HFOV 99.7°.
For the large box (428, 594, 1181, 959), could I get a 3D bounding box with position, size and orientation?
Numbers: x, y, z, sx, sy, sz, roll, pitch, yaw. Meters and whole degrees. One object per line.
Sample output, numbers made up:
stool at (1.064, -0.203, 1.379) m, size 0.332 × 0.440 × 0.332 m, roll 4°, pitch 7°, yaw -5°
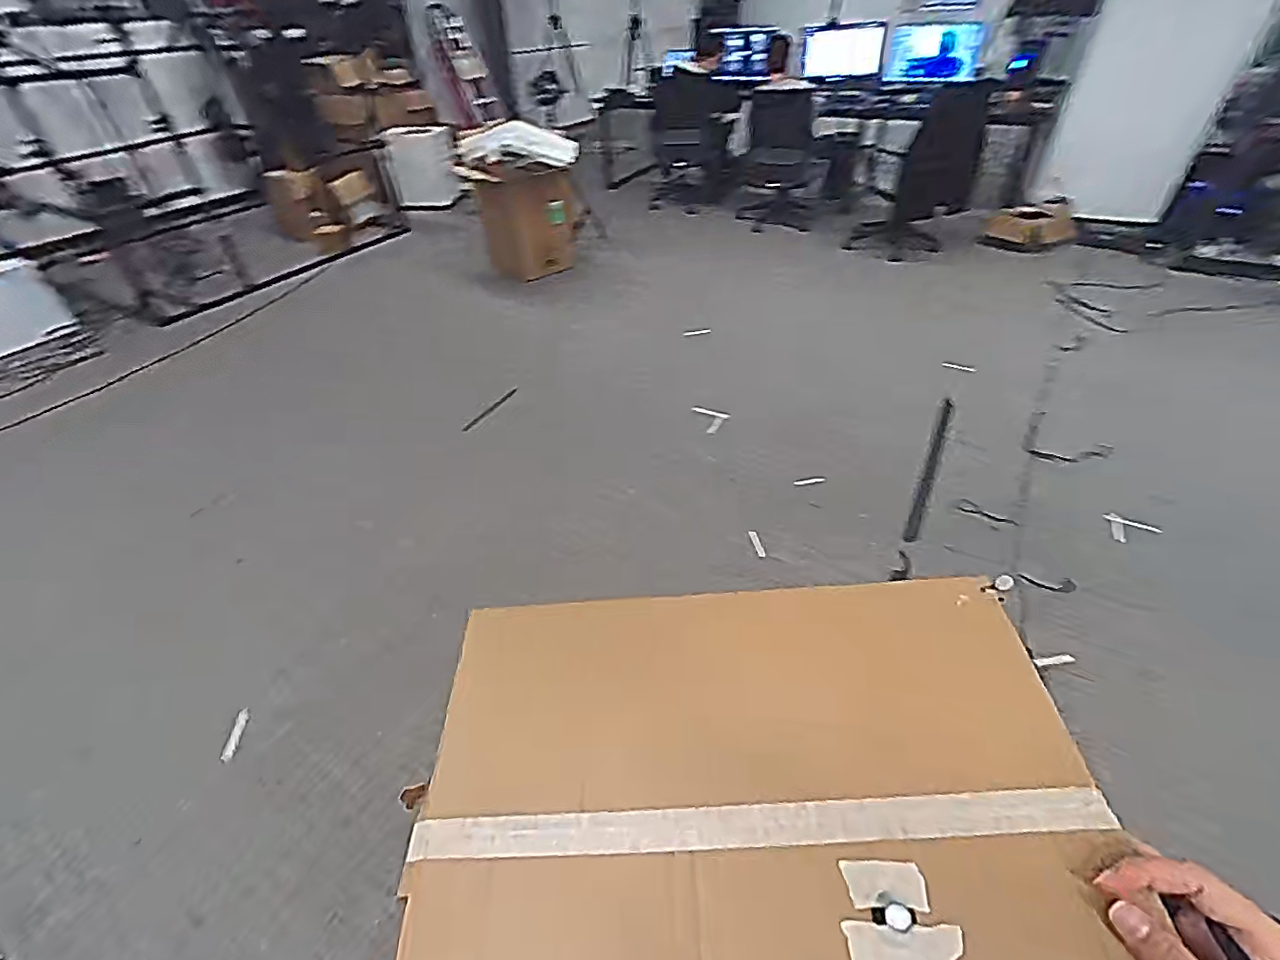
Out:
large box at (0.089, 0.316, 0.435) m, size 0.408 × 0.320 × 0.320 m, roll -4°, pitch 49°, yaw 3°
